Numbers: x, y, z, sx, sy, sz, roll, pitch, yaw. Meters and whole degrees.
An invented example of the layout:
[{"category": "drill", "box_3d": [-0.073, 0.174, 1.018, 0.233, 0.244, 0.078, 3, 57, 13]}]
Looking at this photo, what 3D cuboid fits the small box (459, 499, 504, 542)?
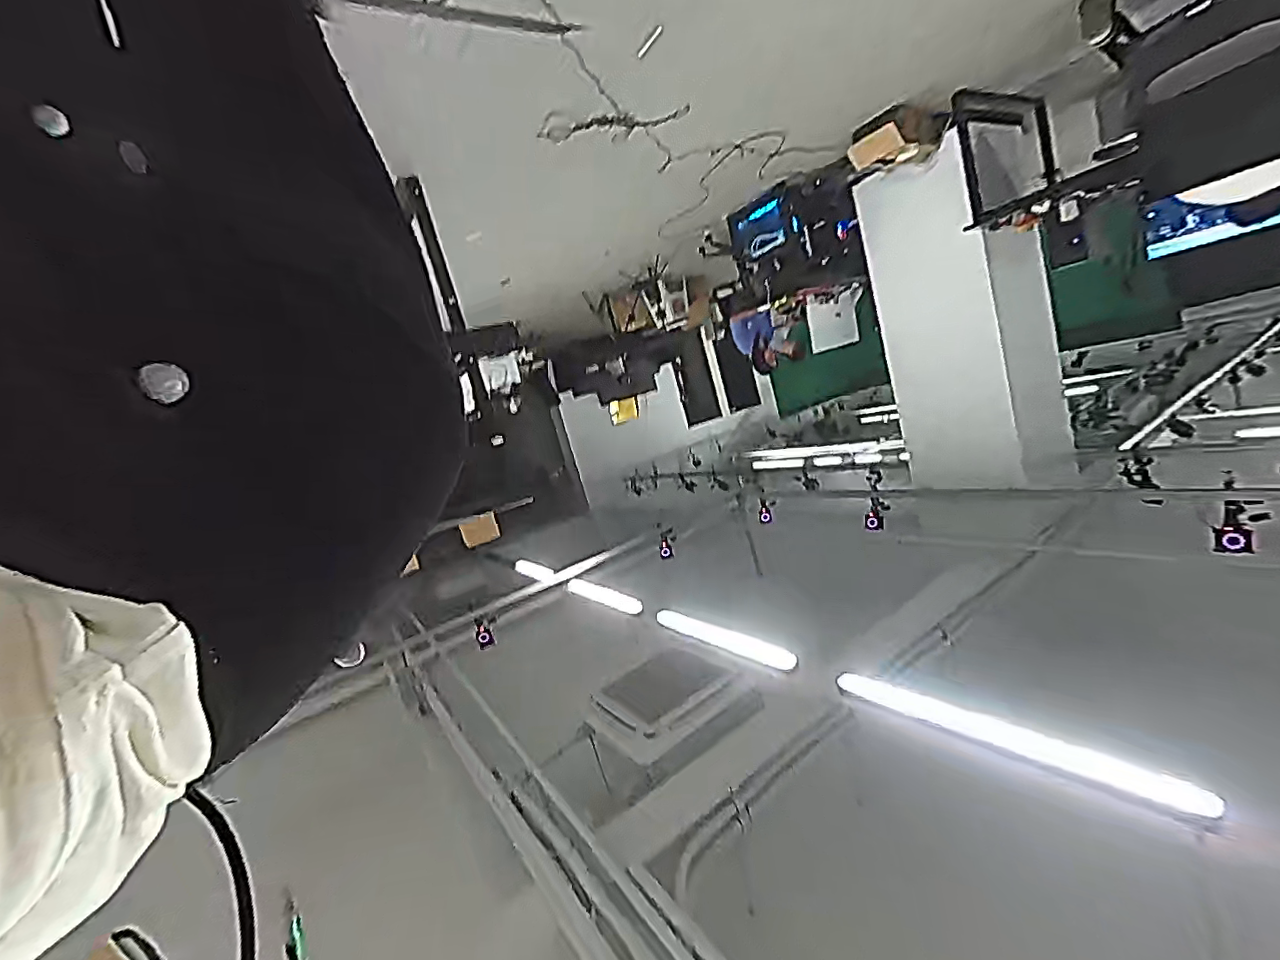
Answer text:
[{"category": "small box", "box_3d": [-0.809, 0.201, 2.741, 0.168, 0.176, 0.179, -20, -171, -21]}]
